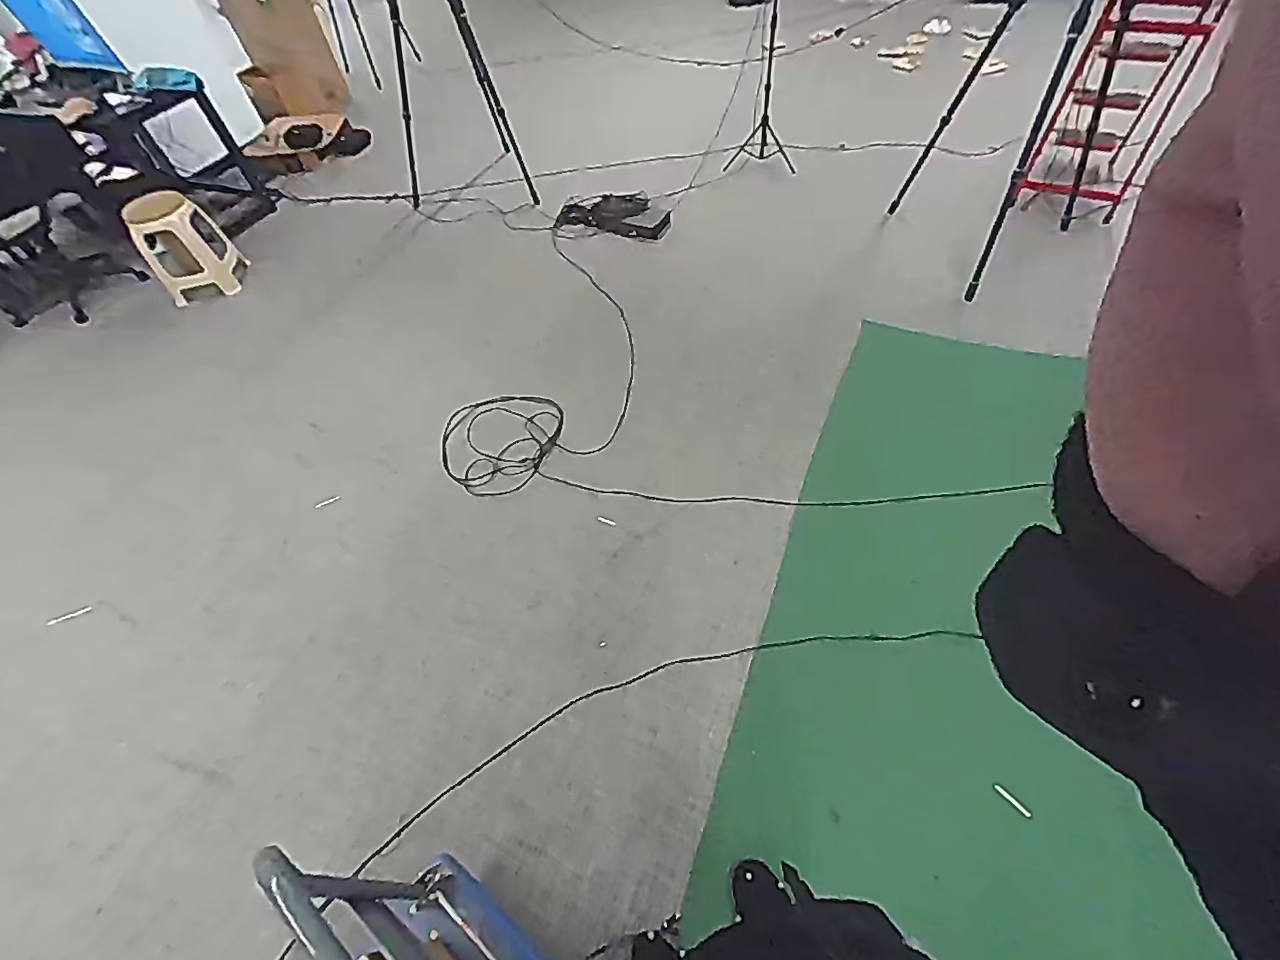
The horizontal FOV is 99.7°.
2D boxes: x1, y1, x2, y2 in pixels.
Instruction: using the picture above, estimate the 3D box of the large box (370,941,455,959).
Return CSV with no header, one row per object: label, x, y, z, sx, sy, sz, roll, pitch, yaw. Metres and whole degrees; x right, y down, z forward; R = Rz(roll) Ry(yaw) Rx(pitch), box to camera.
large box,-0.422,1.061,0.851,0.320,0.320,0.408,29,62,25
